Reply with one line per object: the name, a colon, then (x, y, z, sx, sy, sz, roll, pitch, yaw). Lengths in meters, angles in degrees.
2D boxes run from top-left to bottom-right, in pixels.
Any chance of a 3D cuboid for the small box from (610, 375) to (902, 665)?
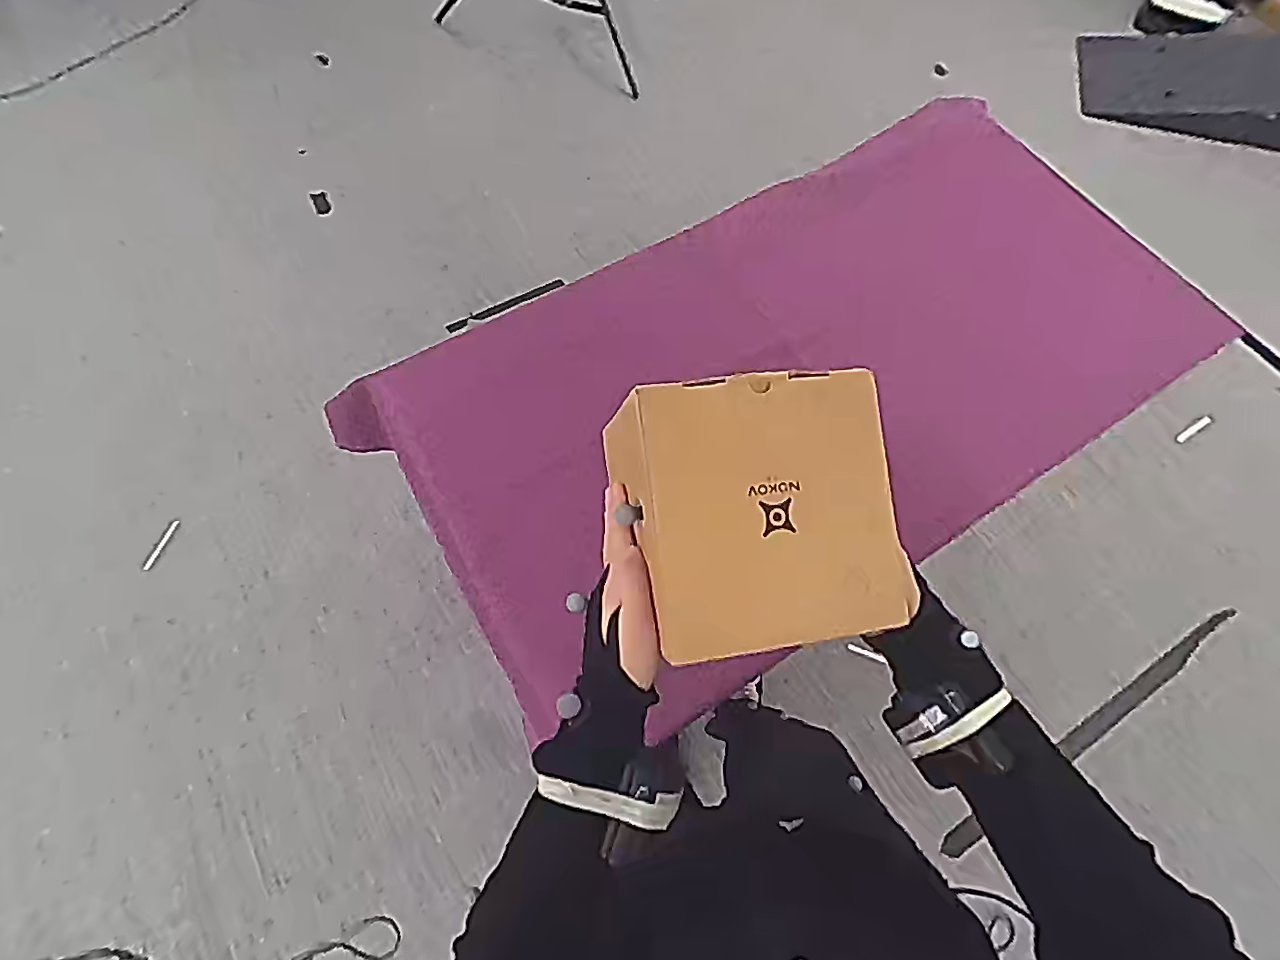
small box: (0.072, 0.027, 0.427, 0.168, 0.176, 0.179, -6, 86, -10)
